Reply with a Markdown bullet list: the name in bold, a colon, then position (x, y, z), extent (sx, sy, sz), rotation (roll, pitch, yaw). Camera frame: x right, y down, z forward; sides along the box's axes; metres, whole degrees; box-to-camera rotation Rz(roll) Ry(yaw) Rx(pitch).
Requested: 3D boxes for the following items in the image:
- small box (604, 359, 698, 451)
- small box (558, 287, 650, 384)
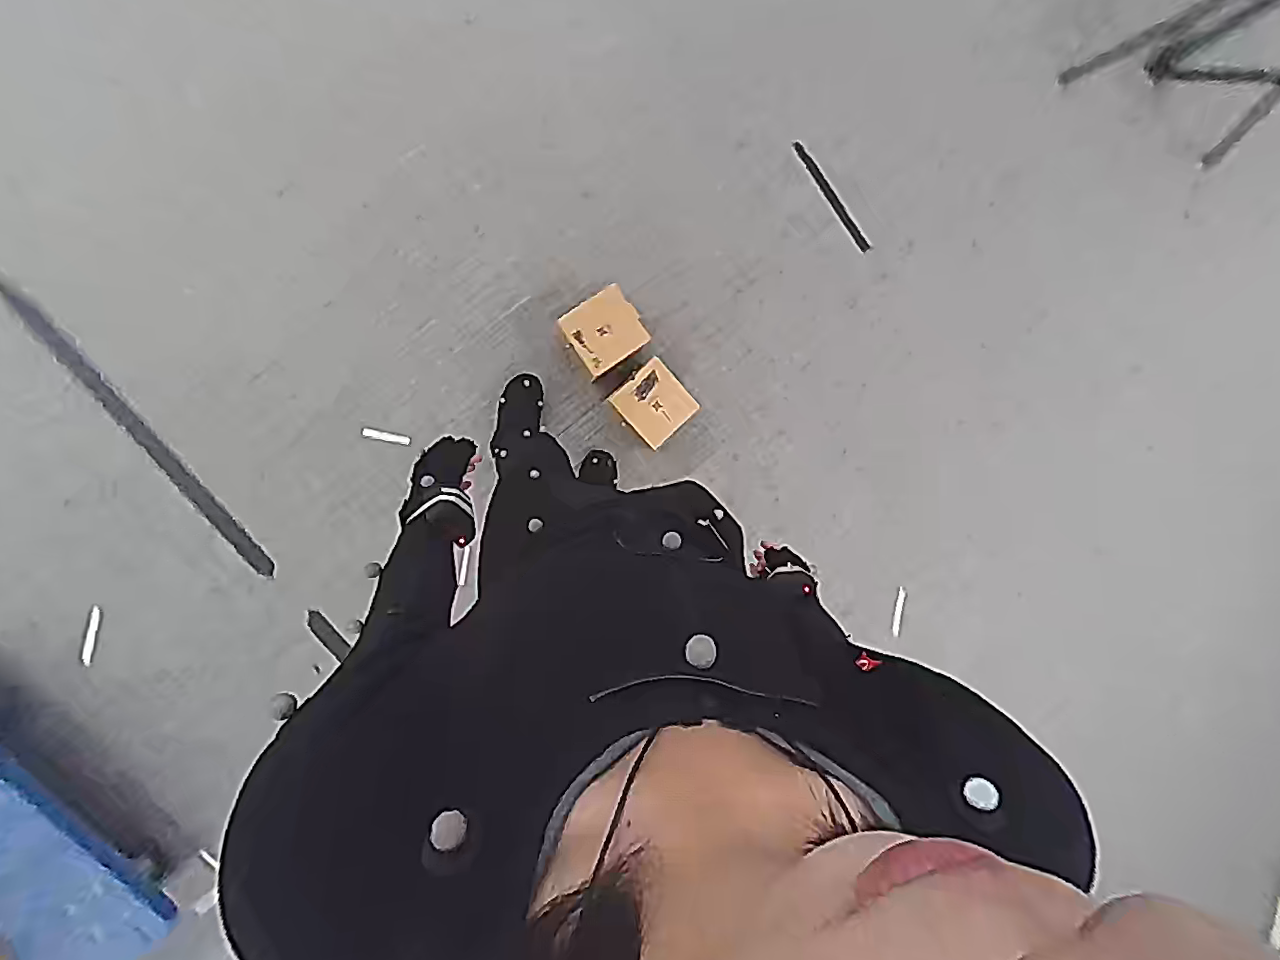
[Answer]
- **small box**: position (0.020, -0.192, 1.436), extent (0.168, 0.176, 0.179), rotation (-43, 100, -4)
- **small box**: position (-0.100, -0.367, 1.402), extent (0.179, 0.176, 0.168), rotation (-34, 98, -6)
